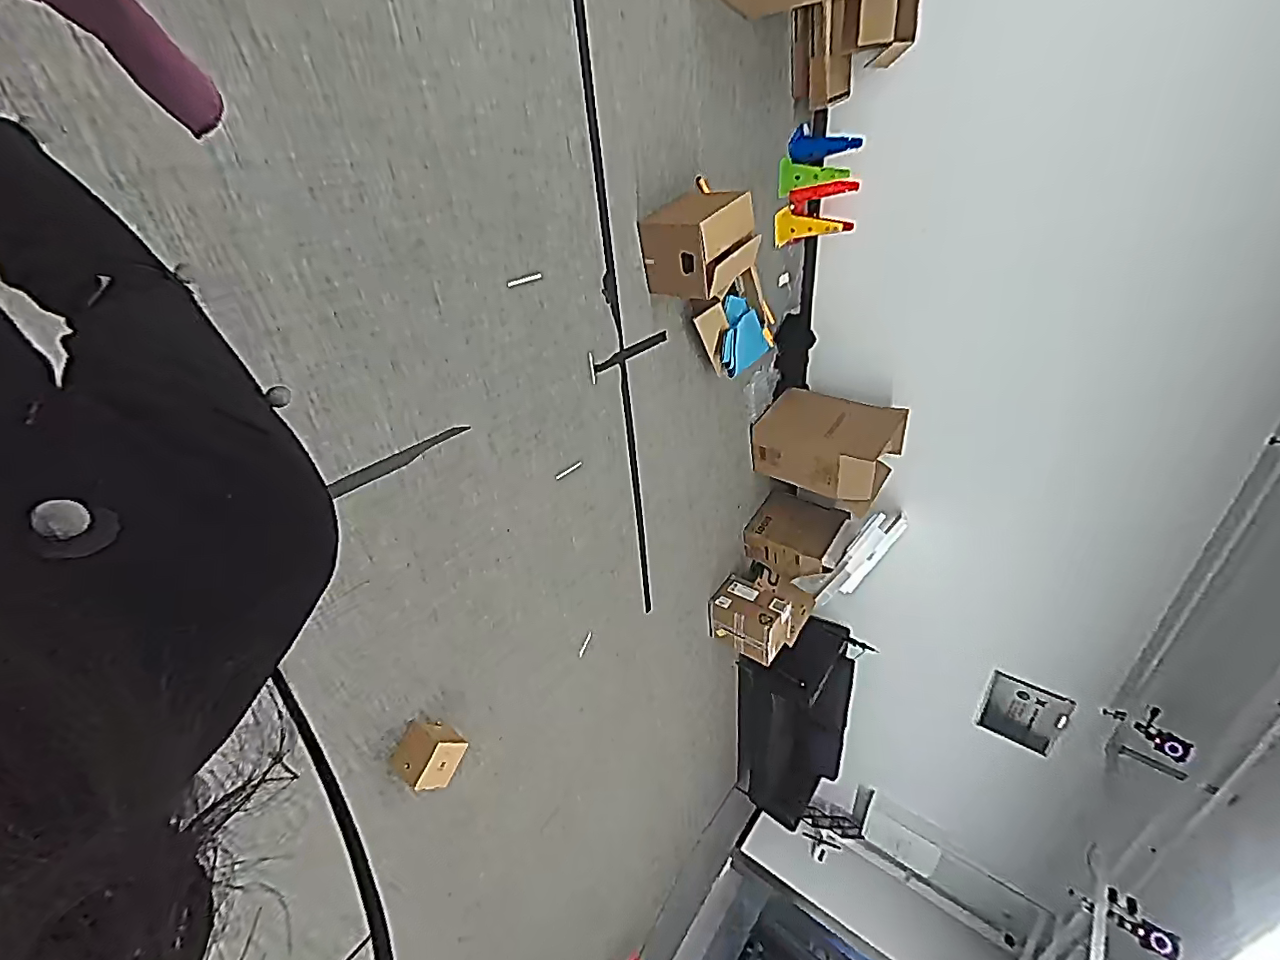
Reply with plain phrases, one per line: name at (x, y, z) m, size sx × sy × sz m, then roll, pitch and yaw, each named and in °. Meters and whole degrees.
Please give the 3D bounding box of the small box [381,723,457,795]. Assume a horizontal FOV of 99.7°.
small box at (-0.824, 1.030, 2.000) m, size 0.179 × 0.176 × 0.168 m, roll -64°, pitch 147°, yaw -13°
